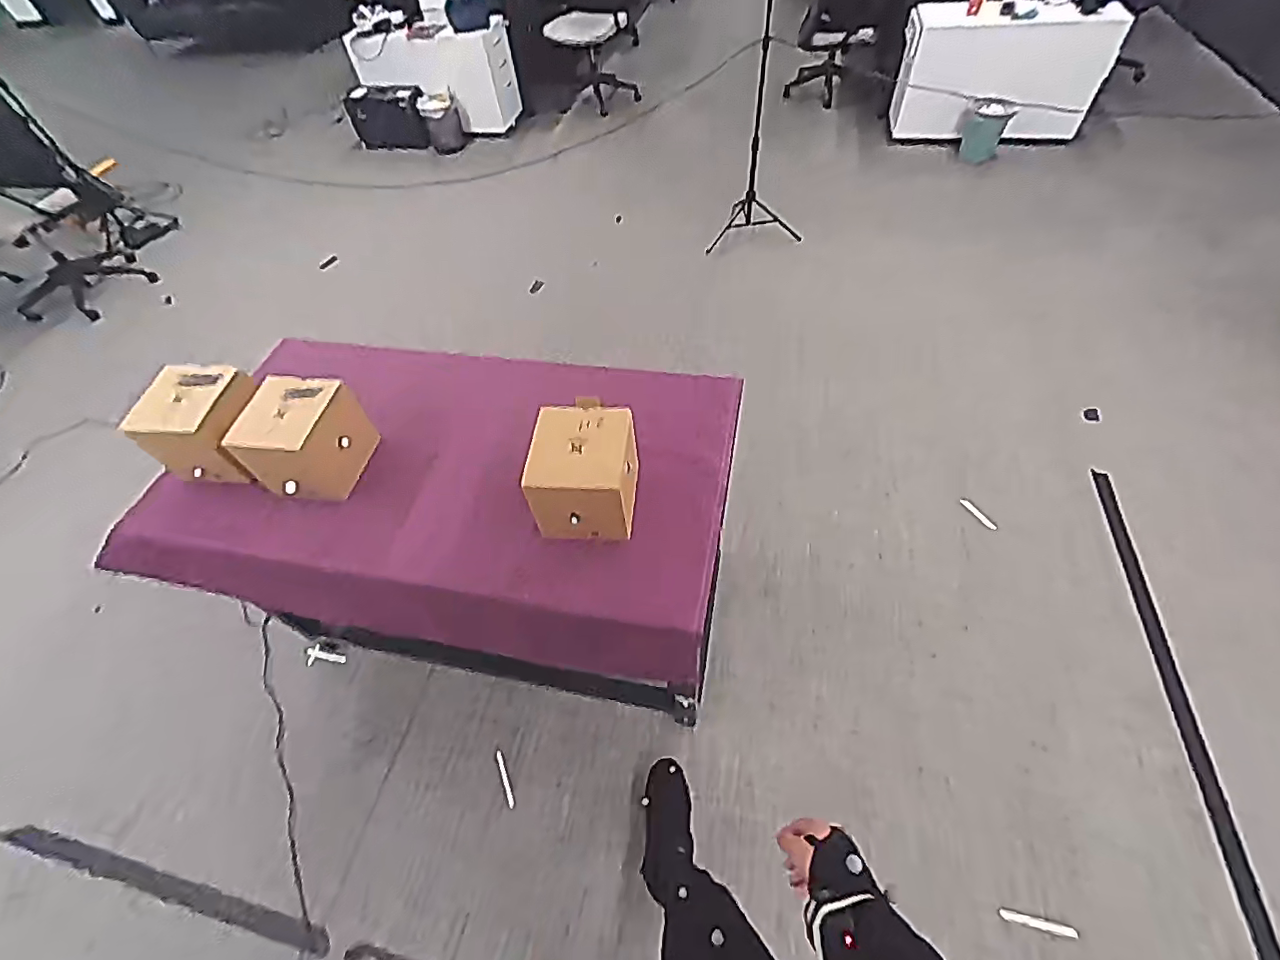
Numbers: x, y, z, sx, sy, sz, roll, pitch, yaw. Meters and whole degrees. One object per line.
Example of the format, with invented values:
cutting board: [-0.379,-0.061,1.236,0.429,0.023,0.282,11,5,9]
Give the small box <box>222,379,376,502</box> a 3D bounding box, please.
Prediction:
small box: [-0.663,-0.079,1.081,0.168,0.176,0.179,4,55,9]

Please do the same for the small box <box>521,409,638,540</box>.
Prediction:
small box: [-0.096,-0.007,0.973,0.168,0.176,0.179,2,53,7]
